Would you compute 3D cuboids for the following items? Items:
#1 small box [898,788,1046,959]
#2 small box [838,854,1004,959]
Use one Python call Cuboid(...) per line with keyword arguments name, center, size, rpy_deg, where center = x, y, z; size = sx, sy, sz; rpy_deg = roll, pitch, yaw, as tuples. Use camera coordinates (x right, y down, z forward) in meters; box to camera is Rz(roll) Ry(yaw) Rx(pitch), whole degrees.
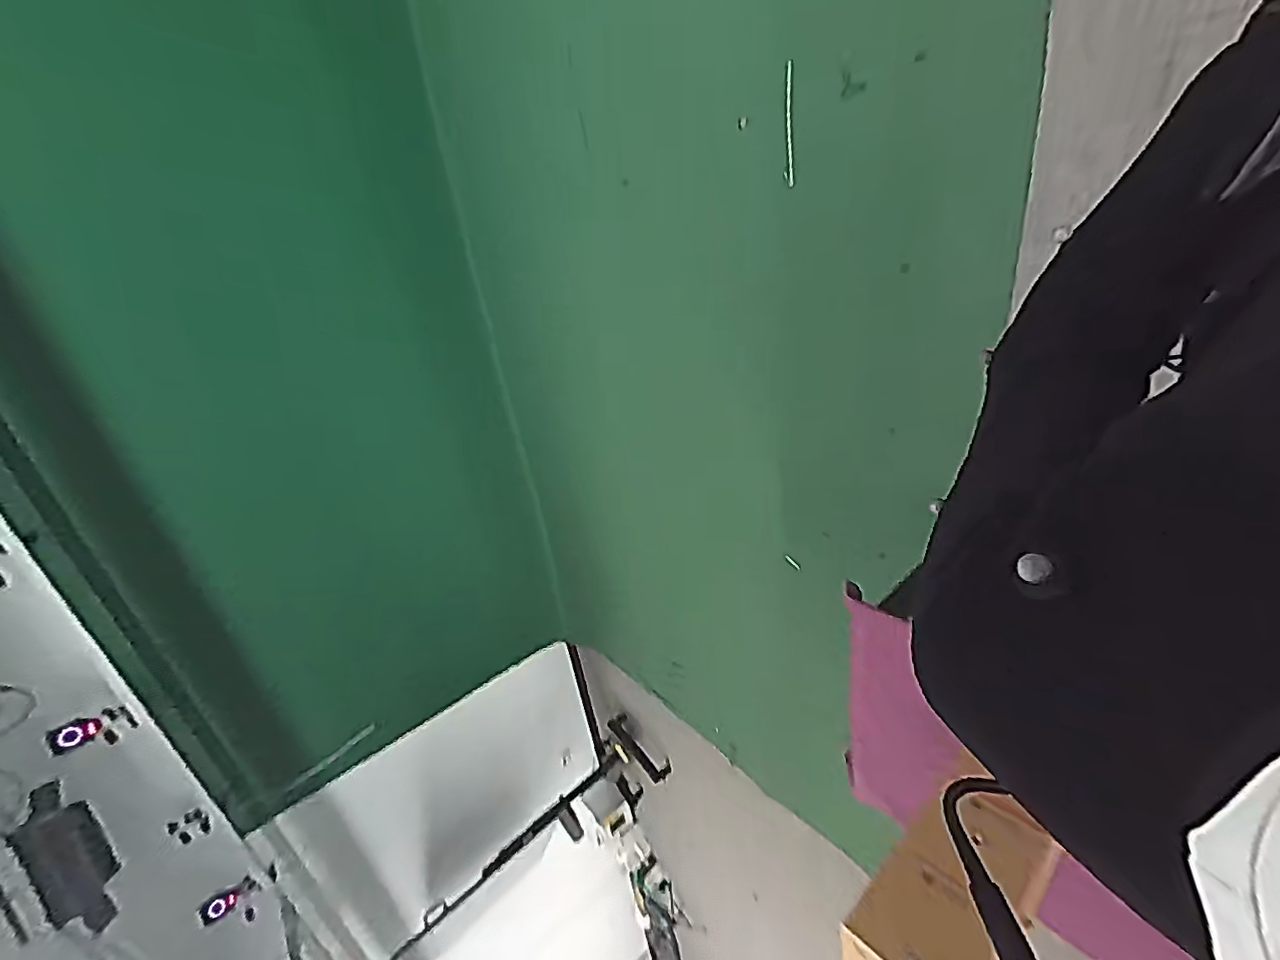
Cuboid(name="small box", center=(0.540, 0.661, 0.891), size=(0.168, 0.176, 0.179), rpy_deg=(19, 127, 47))
Cuboid(name="small box", center=(0.416, 0.721, 0.804), size=(0.168, 0.176, 0.179), rpy_deg=(16, 125, 47))
